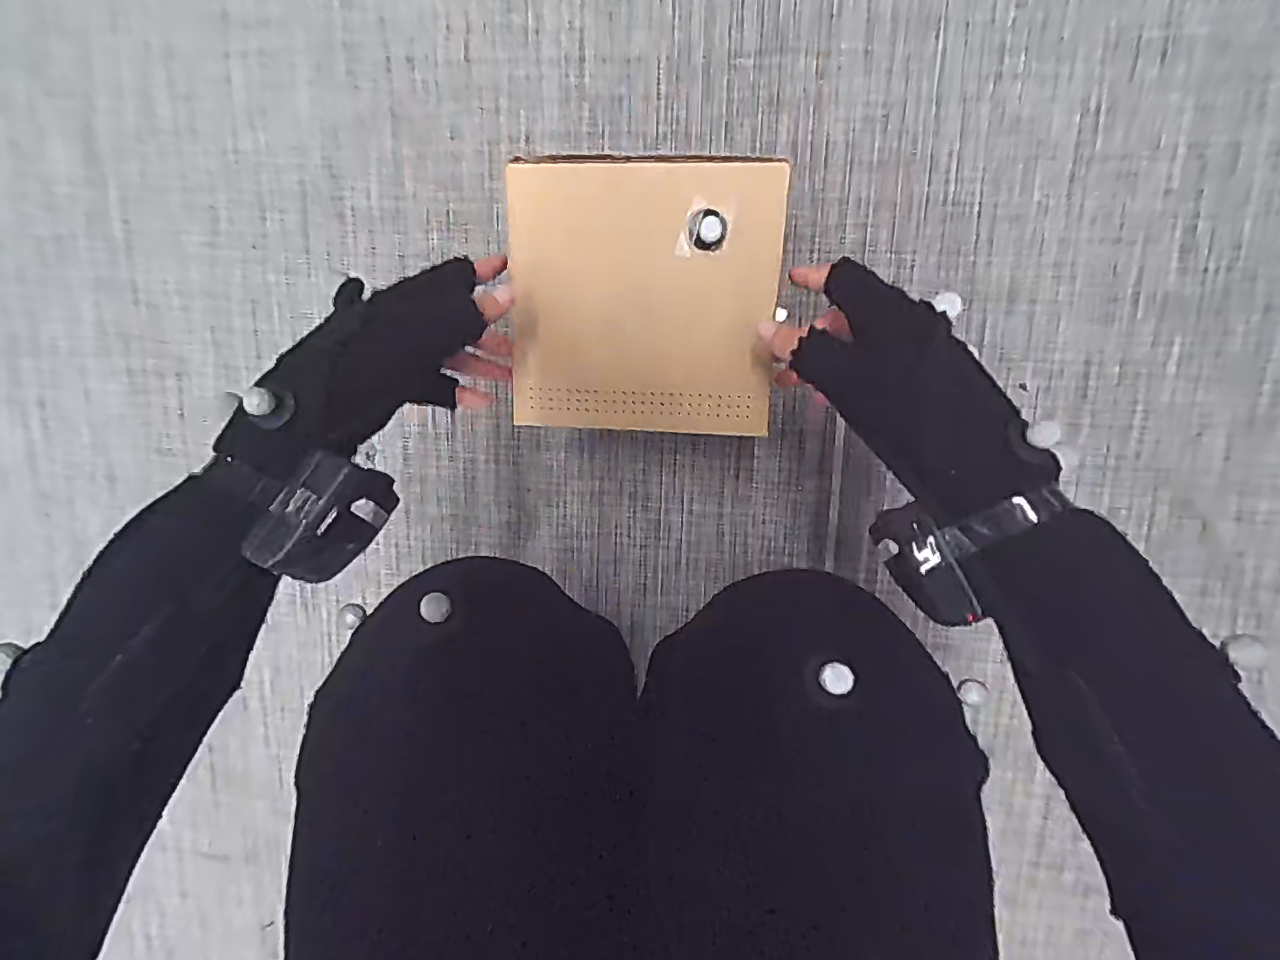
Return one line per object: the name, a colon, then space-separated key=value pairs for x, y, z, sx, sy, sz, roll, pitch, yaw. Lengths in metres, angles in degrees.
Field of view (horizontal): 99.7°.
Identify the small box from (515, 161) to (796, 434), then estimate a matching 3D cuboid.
small box: x=0.014 y=-0.132 z=0.424 sx=0.179 sy=0.168 sz=0.176 roll=4 pitch=105 yaw=7
